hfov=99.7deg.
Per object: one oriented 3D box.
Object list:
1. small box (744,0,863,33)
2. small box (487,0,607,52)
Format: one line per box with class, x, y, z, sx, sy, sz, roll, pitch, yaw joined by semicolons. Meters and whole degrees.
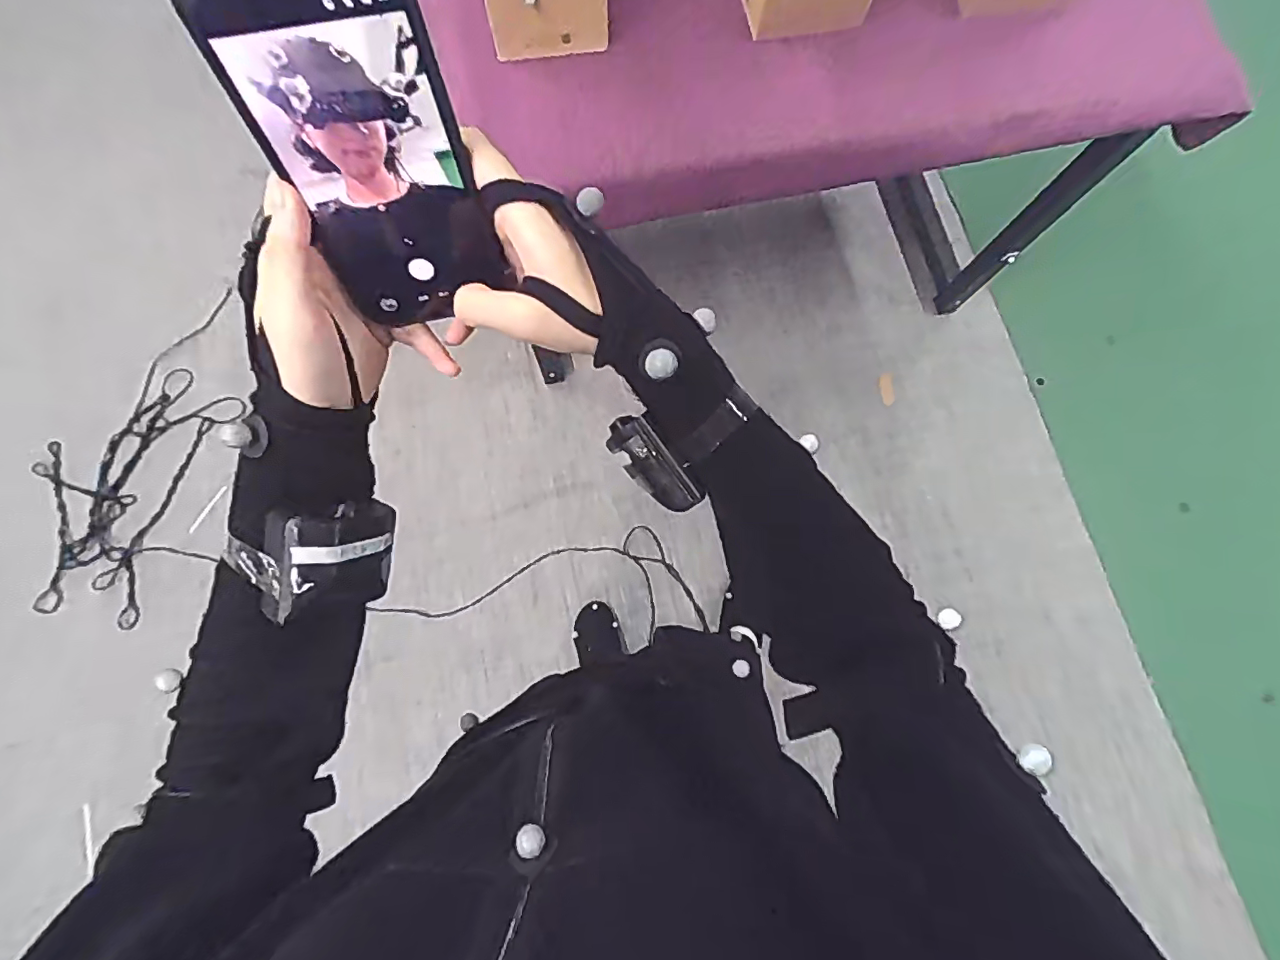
small box;0.247;-0.790;0.771;0.179;0.176;0.168;-10;78;-3
small box;-0.141;-0.742;0.756;0.168;0.176;0.179;-9;78;-3
